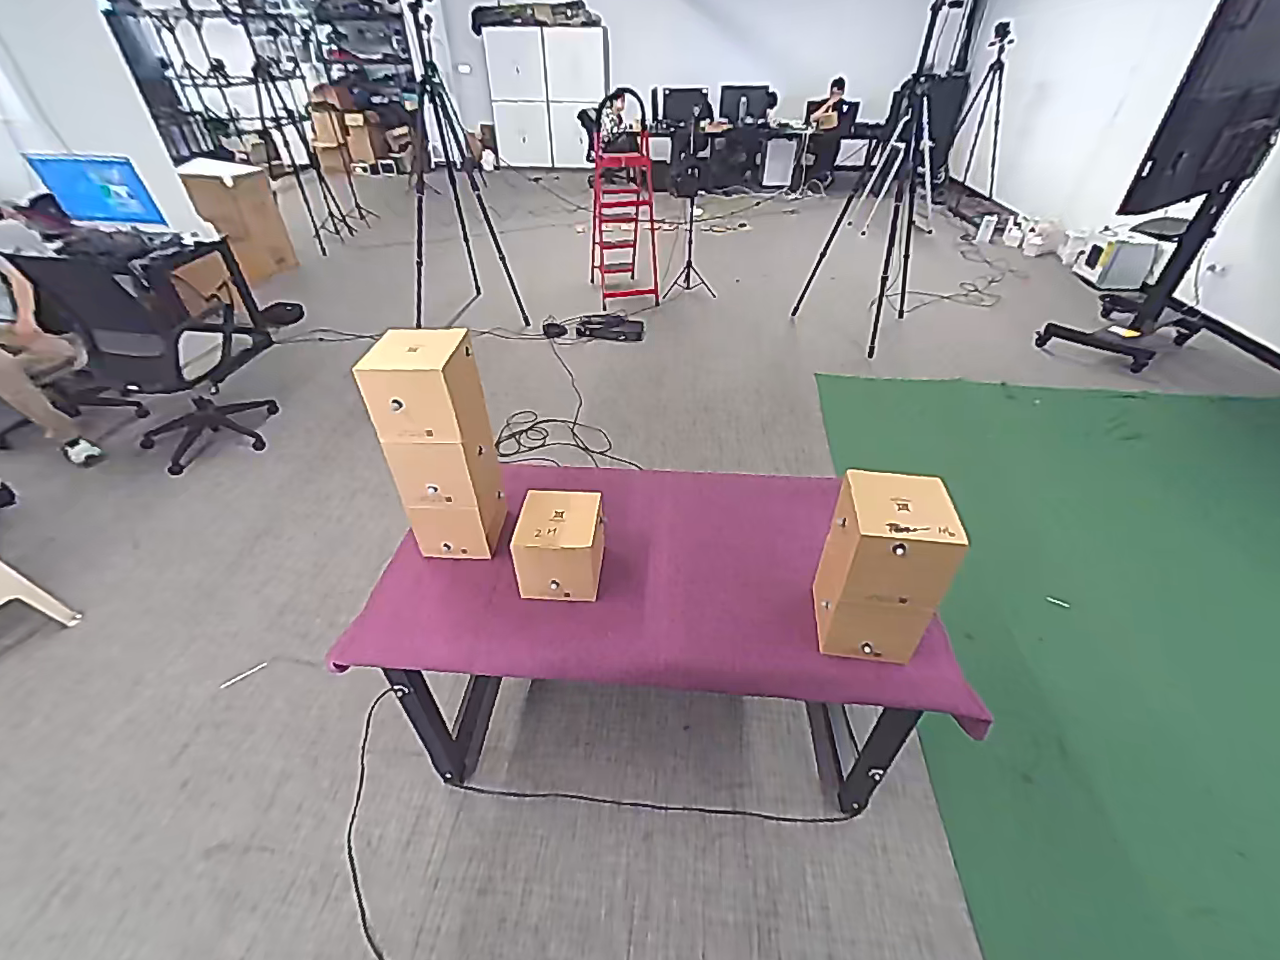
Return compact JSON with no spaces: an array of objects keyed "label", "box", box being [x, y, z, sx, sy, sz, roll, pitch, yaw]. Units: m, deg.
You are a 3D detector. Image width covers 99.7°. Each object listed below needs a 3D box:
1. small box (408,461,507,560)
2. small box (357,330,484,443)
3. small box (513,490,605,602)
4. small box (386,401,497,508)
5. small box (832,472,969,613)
[{"label":"small box","box":[-0.422,0.068,1.286,0.168,0.176,0.179,1,40,2]},{"label":"small box","box":[-0.424,-0.186,1.082,0.168,0.176,0.179,0,39,2]},{"label":"small box","box":[-0.169,0.143,1.190,0.168,0.176,0.179,2,39,4]},{"label":"small box","box":[-0.422,-0.060,1.184,0.168,0.176,0.179,1,40,2]},{"label":"small box","box":[0.447,0.109,0.964,0.168,0.176,0.179,5,38,9]}]
